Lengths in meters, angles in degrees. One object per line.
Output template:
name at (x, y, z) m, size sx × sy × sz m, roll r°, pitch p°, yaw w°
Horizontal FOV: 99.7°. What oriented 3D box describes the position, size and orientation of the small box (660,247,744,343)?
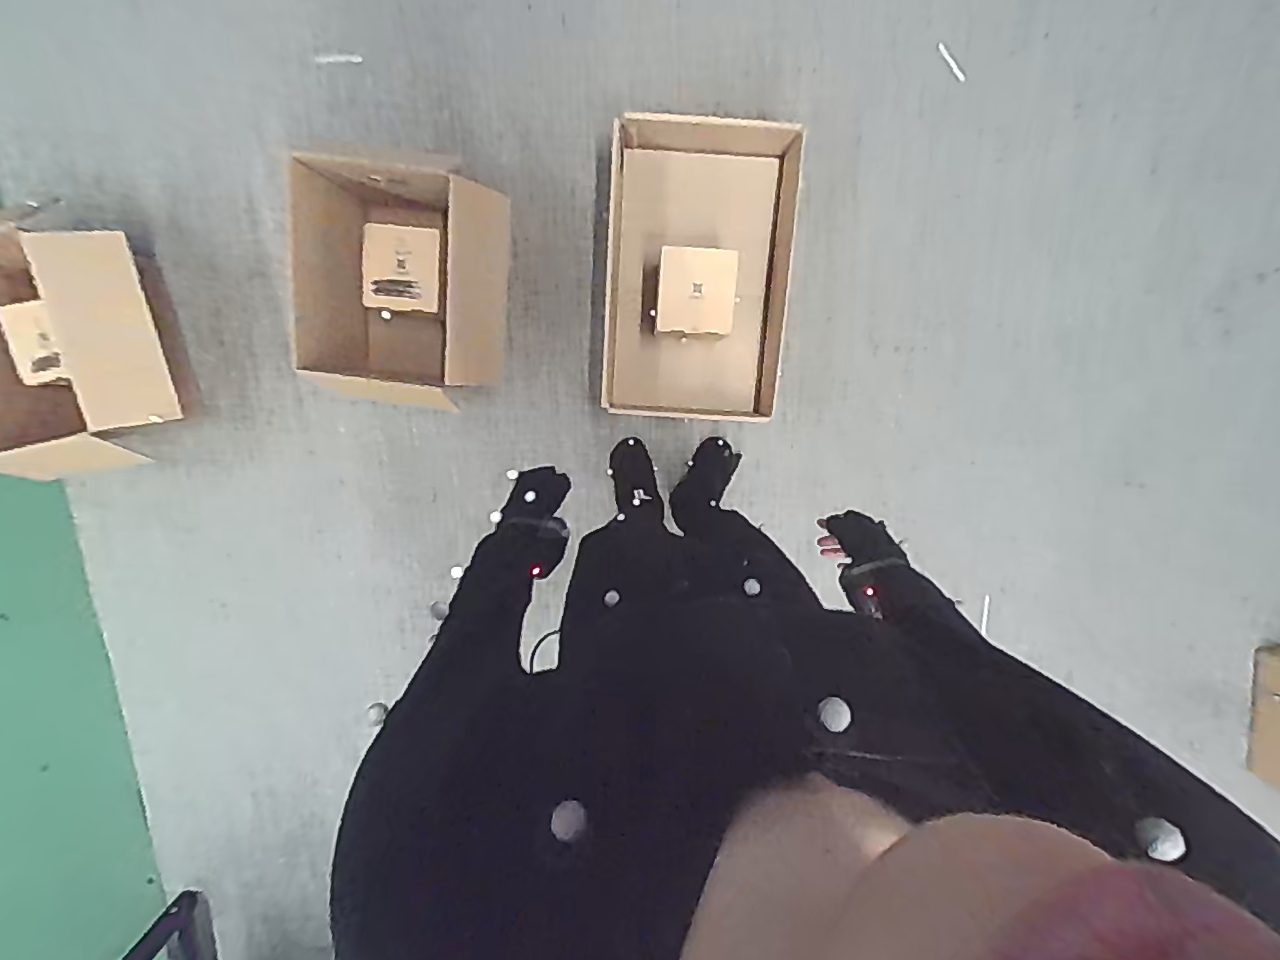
small box at (0.132, -0.412, 1.227) m, size 0.168 × 0.176 × 0.179 m, roll 3°, pitch 101°, yaw 0°
